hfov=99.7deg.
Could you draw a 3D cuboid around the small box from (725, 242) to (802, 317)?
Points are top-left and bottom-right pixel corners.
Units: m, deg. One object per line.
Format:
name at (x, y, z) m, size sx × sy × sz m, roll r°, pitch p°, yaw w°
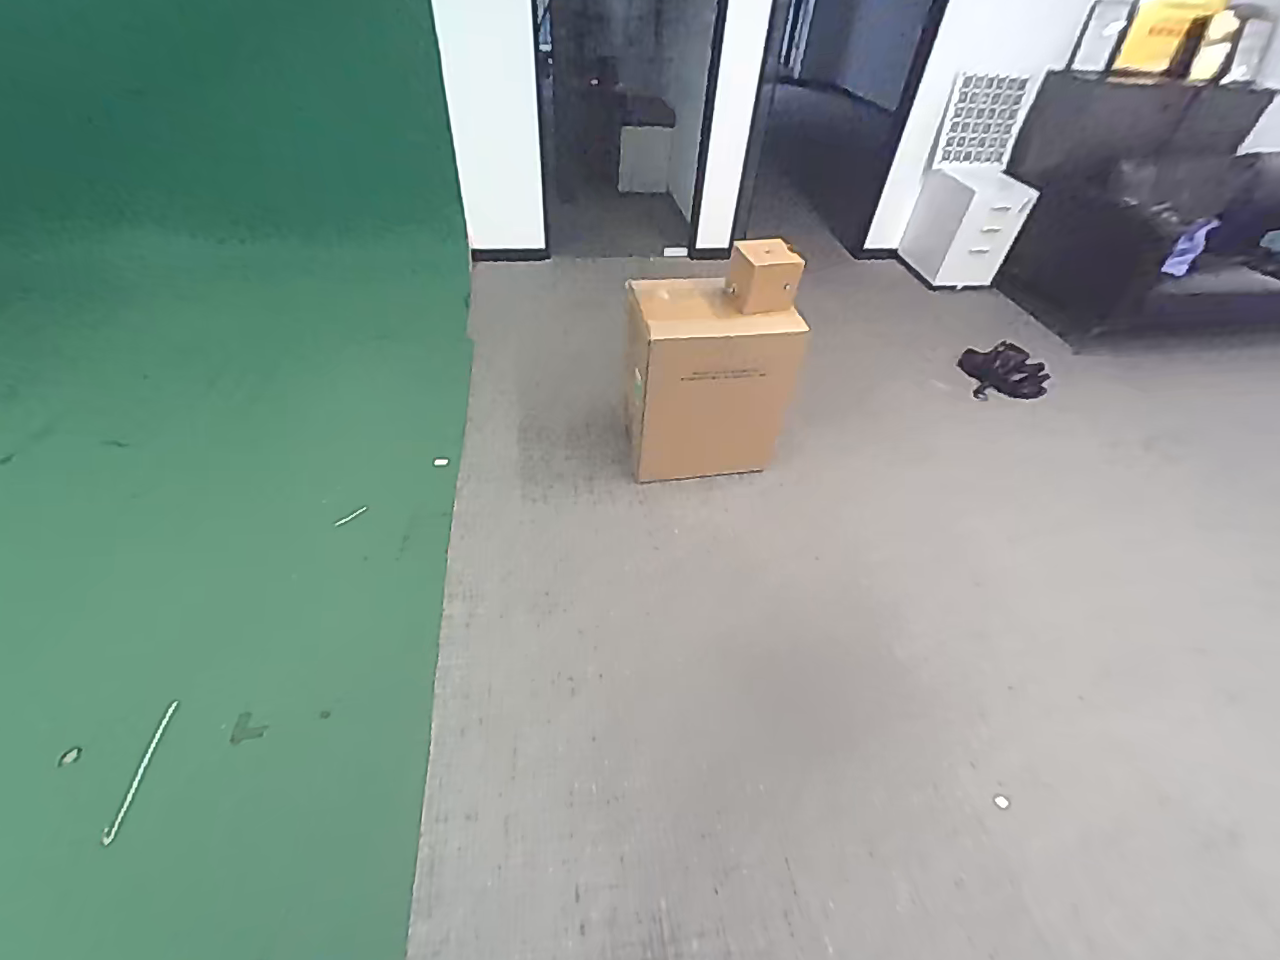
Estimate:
small box at (0.399, -0.658, 1.776) m, size 0.179 × 0.176 × 0.168 m, roll -13°, pitch 50°, yaw -14°
